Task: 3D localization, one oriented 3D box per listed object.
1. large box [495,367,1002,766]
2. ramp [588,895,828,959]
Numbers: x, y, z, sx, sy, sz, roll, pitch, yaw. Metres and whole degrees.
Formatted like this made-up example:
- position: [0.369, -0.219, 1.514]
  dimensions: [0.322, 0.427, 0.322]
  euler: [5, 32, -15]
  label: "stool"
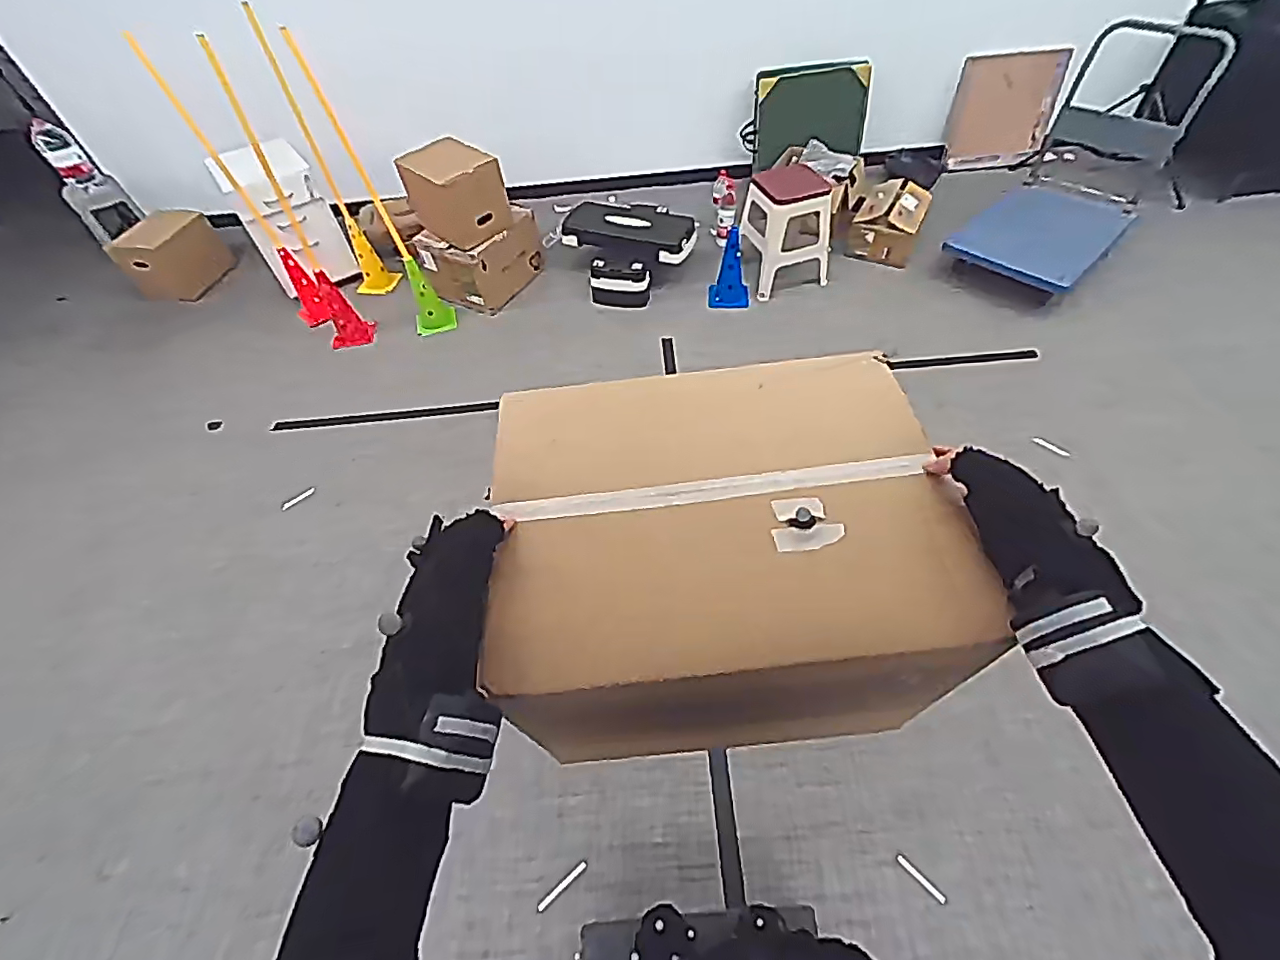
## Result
- position: [0.079, 0.110, 0.620]
  dimensions: [0.408, 0.320, 0.320]
  euler: [-7, 54, 0]
  label: "large box"
- position: [0.176, 1.342, 0.920]
  dimensions: [0.509, 0.206, 0.991]
  euler: [-6, 52, -1]
  label: "ramp"
